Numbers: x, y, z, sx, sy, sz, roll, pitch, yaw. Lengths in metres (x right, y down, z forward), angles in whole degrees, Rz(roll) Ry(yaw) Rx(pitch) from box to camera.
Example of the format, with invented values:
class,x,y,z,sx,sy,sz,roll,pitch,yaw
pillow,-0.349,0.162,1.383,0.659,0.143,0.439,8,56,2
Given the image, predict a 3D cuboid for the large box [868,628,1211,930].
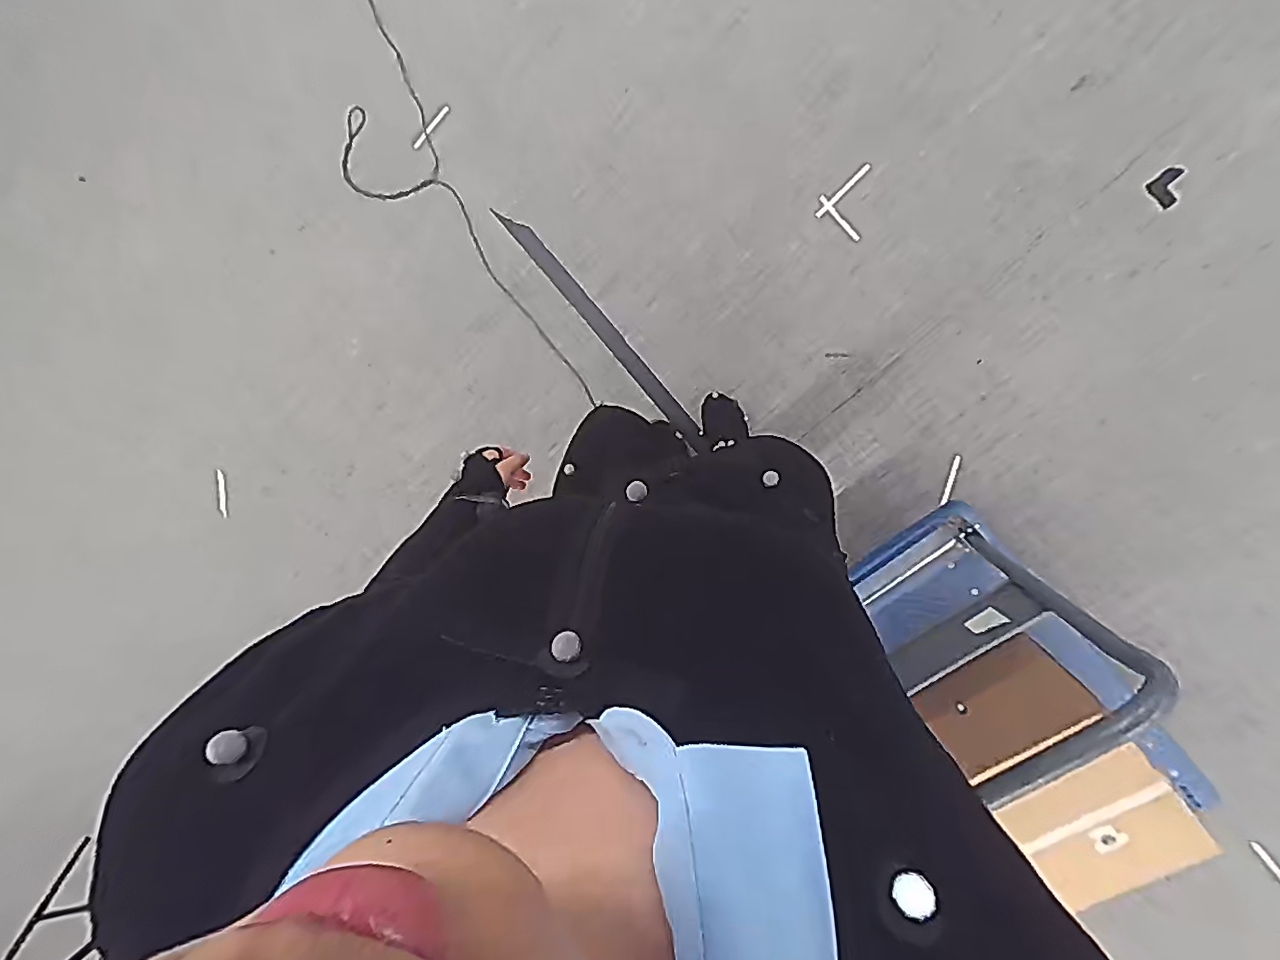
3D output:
class,x,y,z,sx,sy,sz,roll,pitch,yaw
large box,0.755,0.583,1.107,0.408,0.320,0.320,-39,91,14
